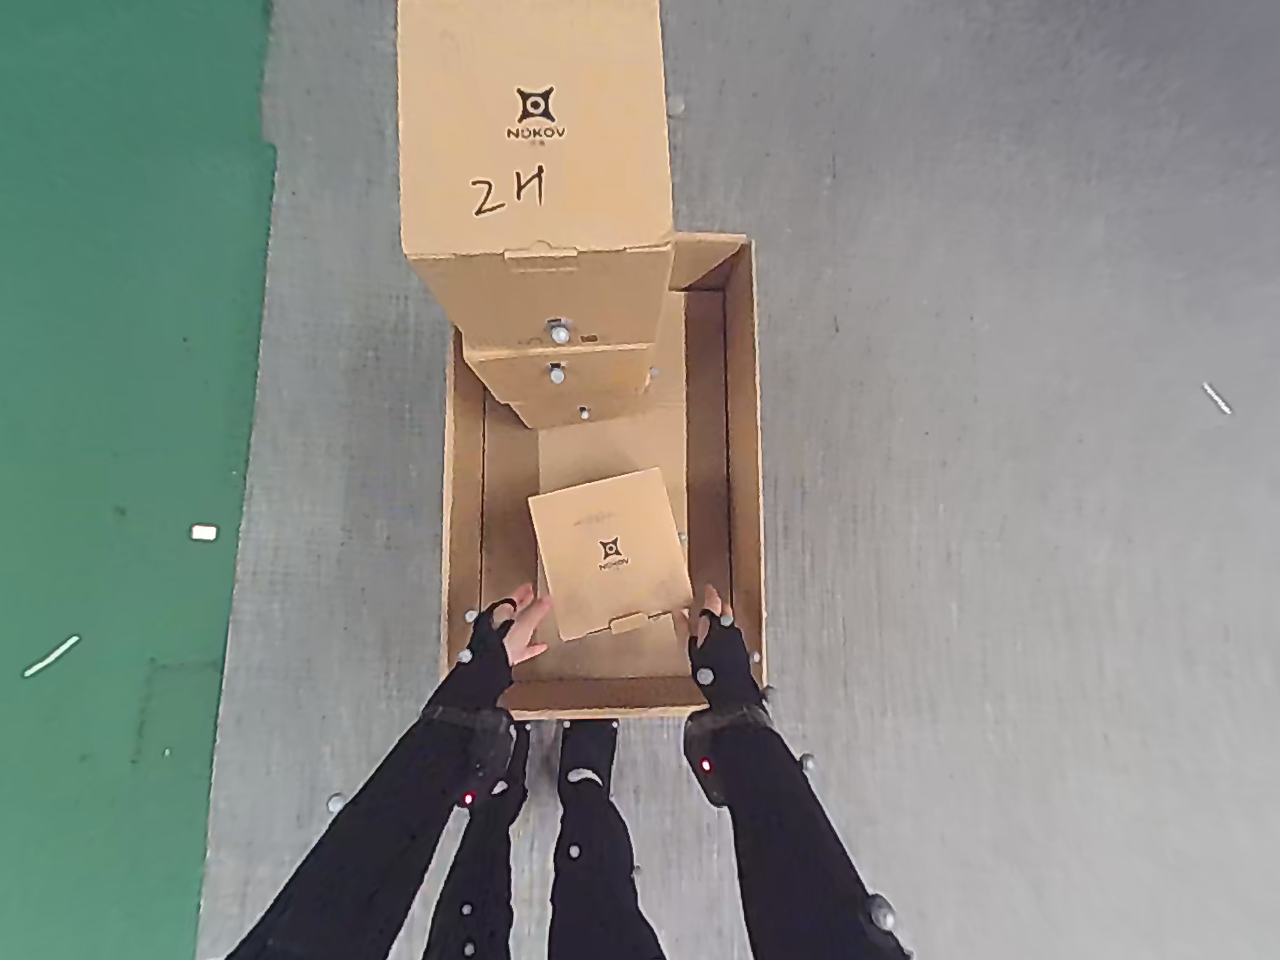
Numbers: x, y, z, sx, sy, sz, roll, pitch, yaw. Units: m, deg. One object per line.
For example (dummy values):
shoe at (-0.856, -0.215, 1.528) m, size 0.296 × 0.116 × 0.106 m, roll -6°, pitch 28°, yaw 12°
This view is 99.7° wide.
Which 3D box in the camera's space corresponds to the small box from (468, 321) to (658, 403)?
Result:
small box at (-0.079, -0.185, 0.584) m, size 0.179 × 0.176 × 0.168 m, roll -5°, pitch 85°, yaw -2°

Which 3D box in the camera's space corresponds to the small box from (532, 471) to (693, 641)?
small box at (-0.036, 0.096, 0.722) m, size 0.168 × 0.176 × 0.179 m, roll -13°, pitch 84°, yaw -5°

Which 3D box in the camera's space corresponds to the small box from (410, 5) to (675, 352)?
small box at (-0.065, -0.213, 0.422) m, size 0.168 × 0.176 × 0.179 m, roll -2°, pitch 85°, yaw -2°
